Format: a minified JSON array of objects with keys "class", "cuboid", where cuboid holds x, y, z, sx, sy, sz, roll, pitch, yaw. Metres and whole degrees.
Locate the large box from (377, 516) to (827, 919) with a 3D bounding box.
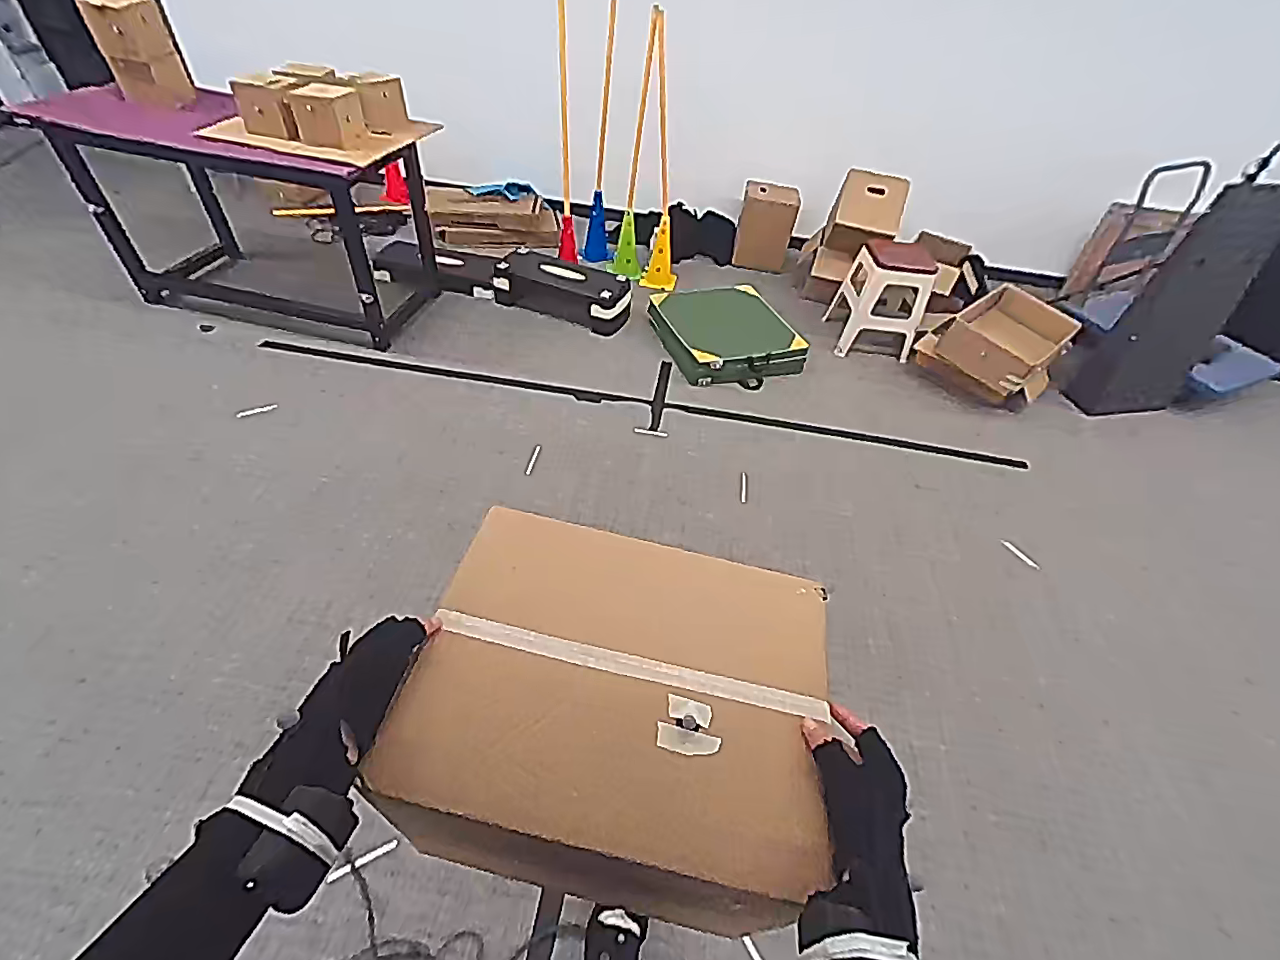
[{"class":"large box","cuboid":[-0.030,0.292,0.666,0.408,0.320,0.320,13,48,2]}]
